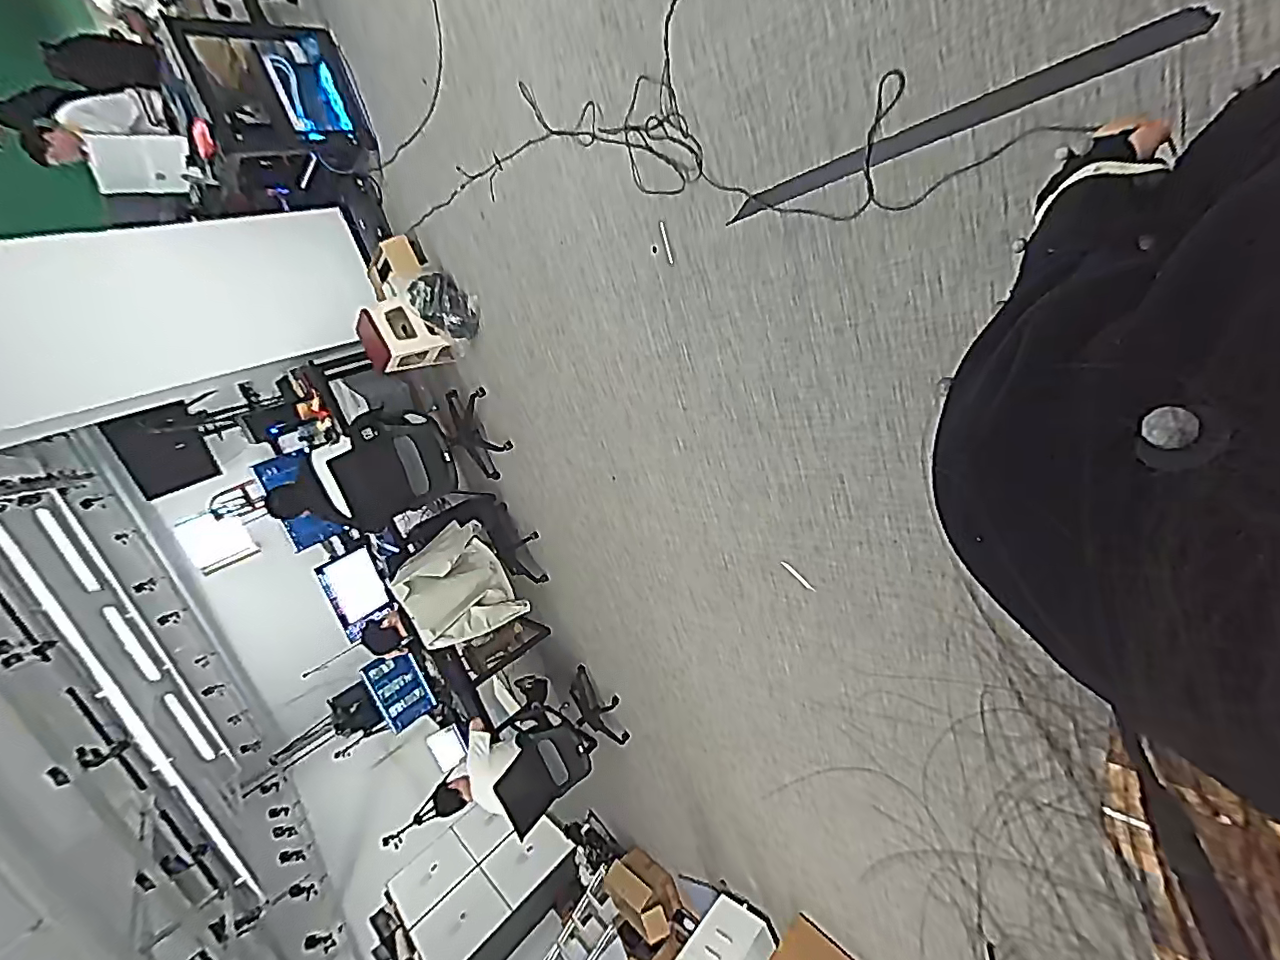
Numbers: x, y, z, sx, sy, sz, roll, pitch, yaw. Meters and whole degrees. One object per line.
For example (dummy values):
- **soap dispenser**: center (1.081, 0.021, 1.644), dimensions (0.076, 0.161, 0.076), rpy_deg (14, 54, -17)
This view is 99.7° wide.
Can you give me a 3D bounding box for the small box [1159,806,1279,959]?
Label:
- **small box**: center (1.173, 0.805, 1.085), dimensions (0.179, 0.176, 0.168), rpy_deg (2, 115, 50)
